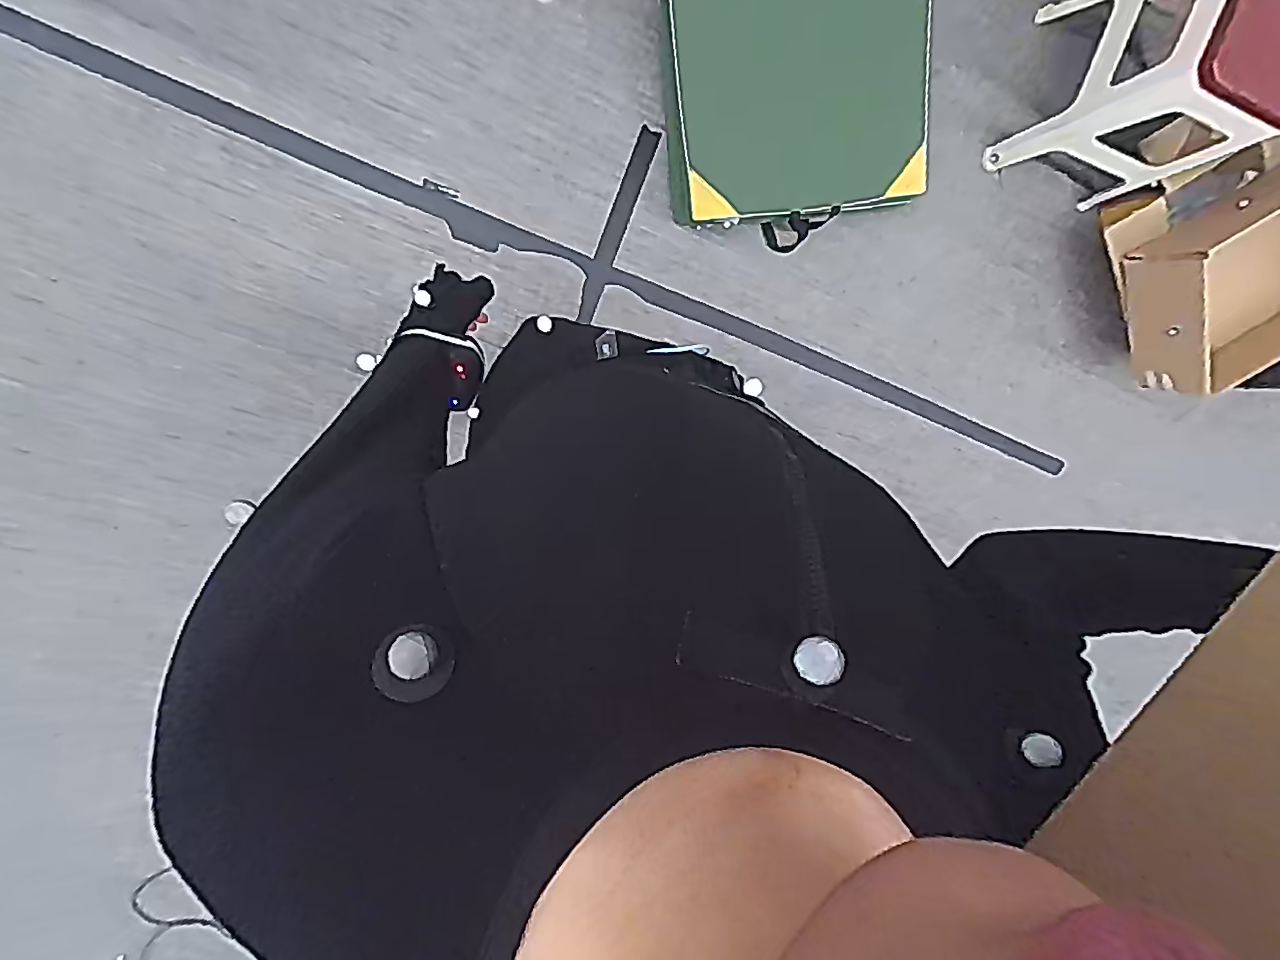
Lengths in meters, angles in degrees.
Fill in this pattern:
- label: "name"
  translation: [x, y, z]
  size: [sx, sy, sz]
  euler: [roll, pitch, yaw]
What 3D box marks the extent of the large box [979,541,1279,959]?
- label: "large box"
  translation: [0.396, 0.178, 0.127]
  size: [0.408, 0.320, 0.320]
  euler: [-24, 91, -23]
